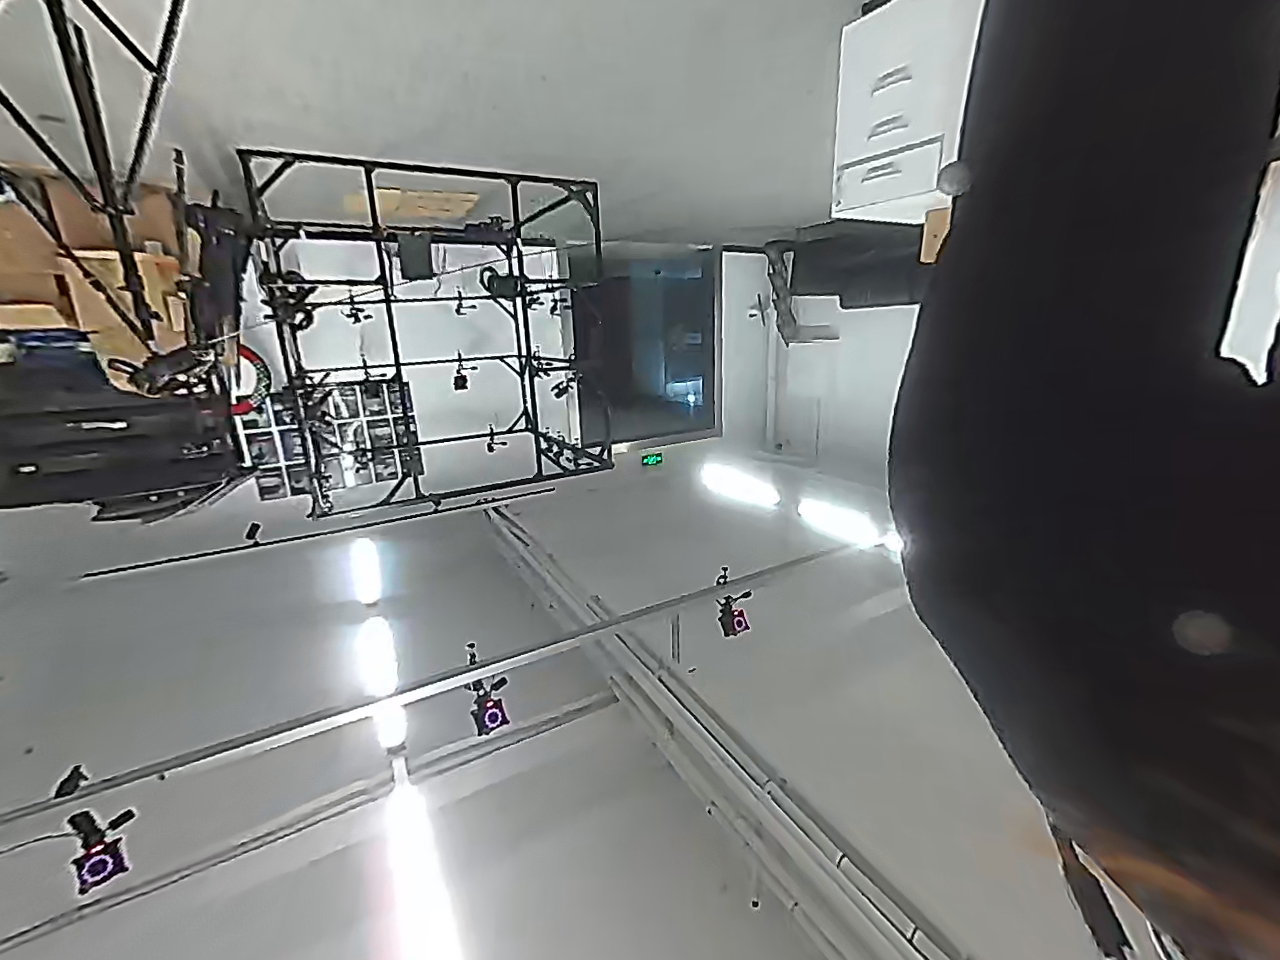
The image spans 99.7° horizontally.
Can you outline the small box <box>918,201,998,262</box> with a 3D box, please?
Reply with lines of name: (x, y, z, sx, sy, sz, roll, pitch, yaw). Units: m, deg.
small box: (1.093, -0.849, 1.860, 0.168, 0.176, 0.179, -13, -159, -31)
